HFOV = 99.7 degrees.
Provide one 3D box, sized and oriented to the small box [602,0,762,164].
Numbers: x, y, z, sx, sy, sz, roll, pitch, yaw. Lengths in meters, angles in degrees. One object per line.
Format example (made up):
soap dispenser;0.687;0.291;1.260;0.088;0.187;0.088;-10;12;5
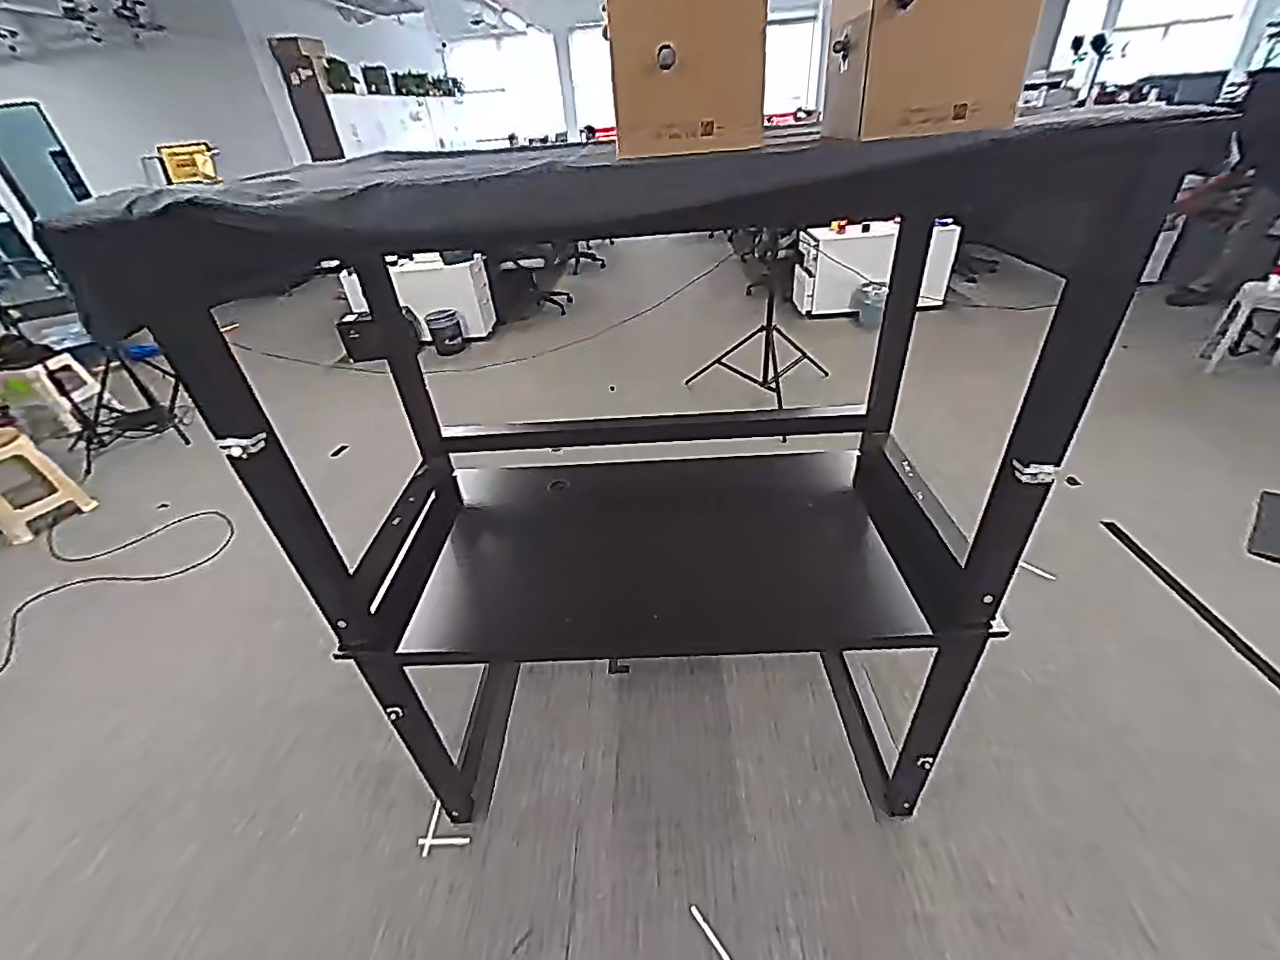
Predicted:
small box;0.055;-0.480;0.643;0.168;0.176;0.179;-1;33;6
